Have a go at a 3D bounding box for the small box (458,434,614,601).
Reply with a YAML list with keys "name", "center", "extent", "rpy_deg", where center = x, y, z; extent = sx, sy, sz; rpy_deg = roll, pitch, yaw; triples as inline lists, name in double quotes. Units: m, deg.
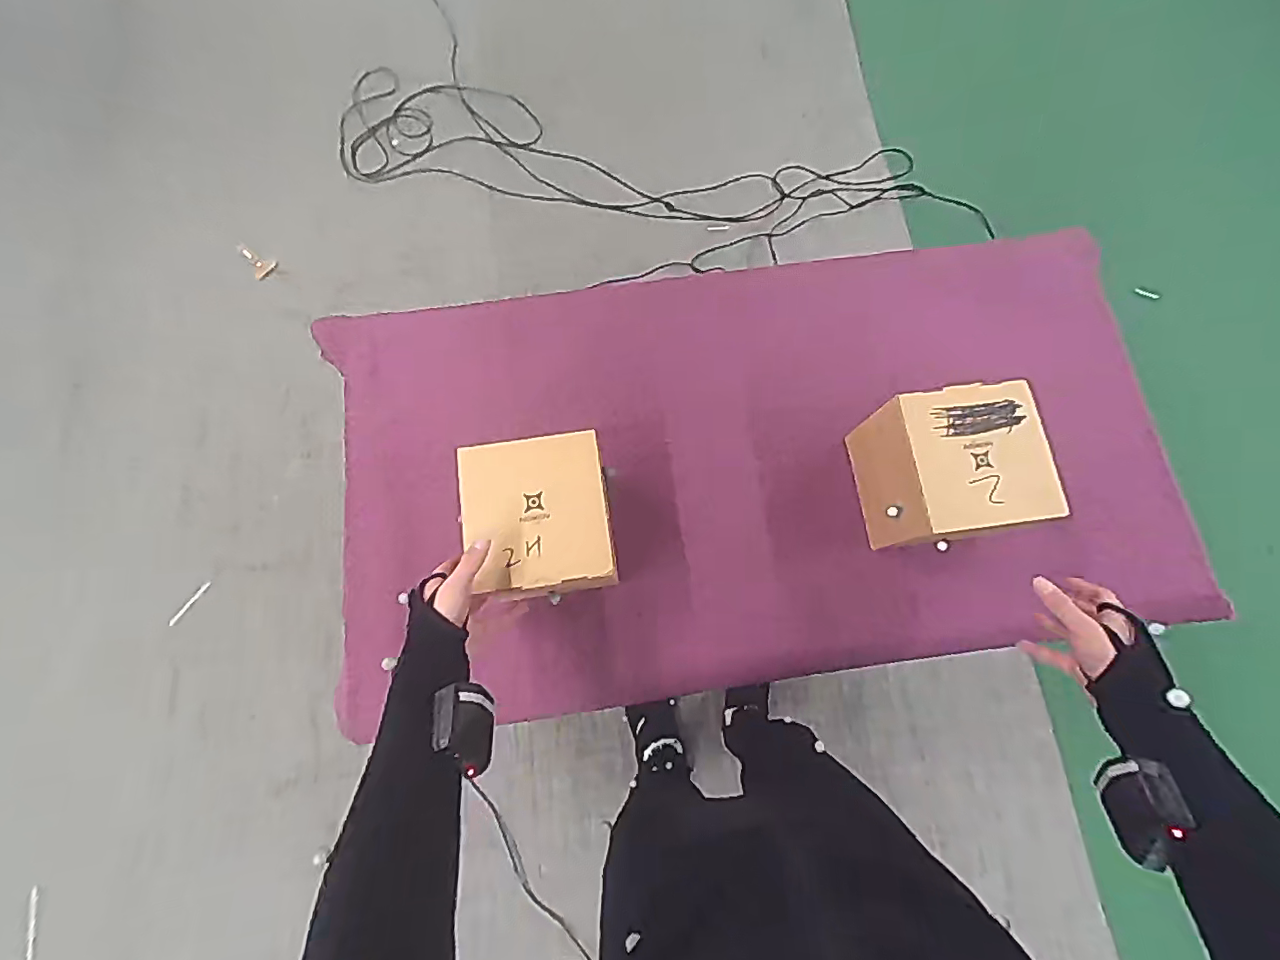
- name: "small box"
  center: [-0.127, 0.057, 0.702]
  extent: [0.168, 0.176, 0.179]
  rpy_deg: [-8, 76, -2]
